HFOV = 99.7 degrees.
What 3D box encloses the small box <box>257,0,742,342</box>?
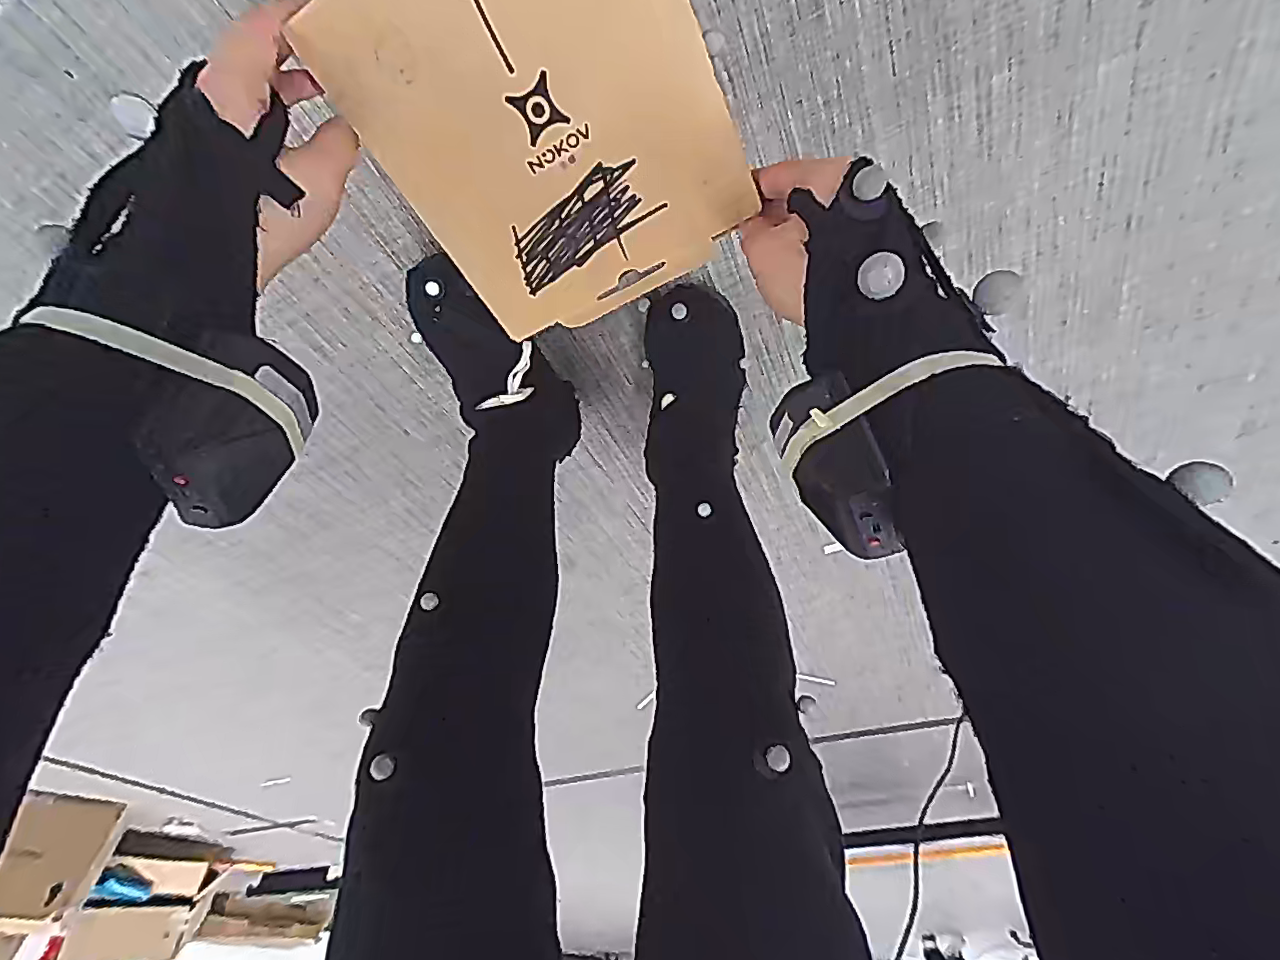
[{"bbox_3d":[-0.056,-0.221,0.318,0.168,0.176,0.179,-23,128,17],"label":"small box"}]
